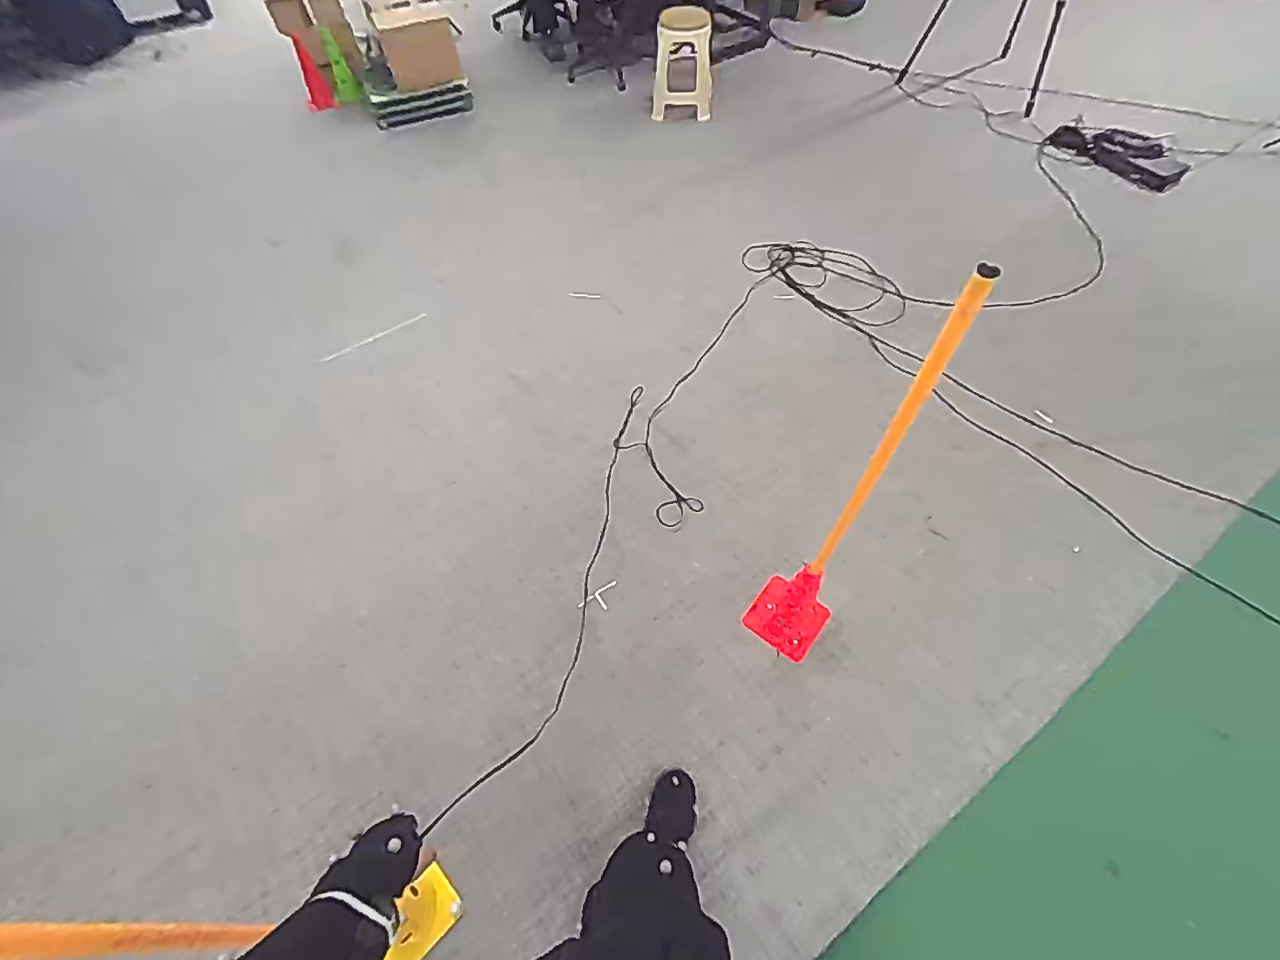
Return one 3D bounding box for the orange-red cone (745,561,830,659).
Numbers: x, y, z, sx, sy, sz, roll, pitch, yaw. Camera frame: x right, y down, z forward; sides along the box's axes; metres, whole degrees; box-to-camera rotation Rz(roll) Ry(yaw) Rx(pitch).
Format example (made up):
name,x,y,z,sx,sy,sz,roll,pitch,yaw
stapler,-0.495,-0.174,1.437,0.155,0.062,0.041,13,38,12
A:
name,x,y,z,sx,sy,sz,roll,pitch,yaw
orange-red cone,0.431,0.304,1.444,0.198,0.360,0.199,35,63,21
